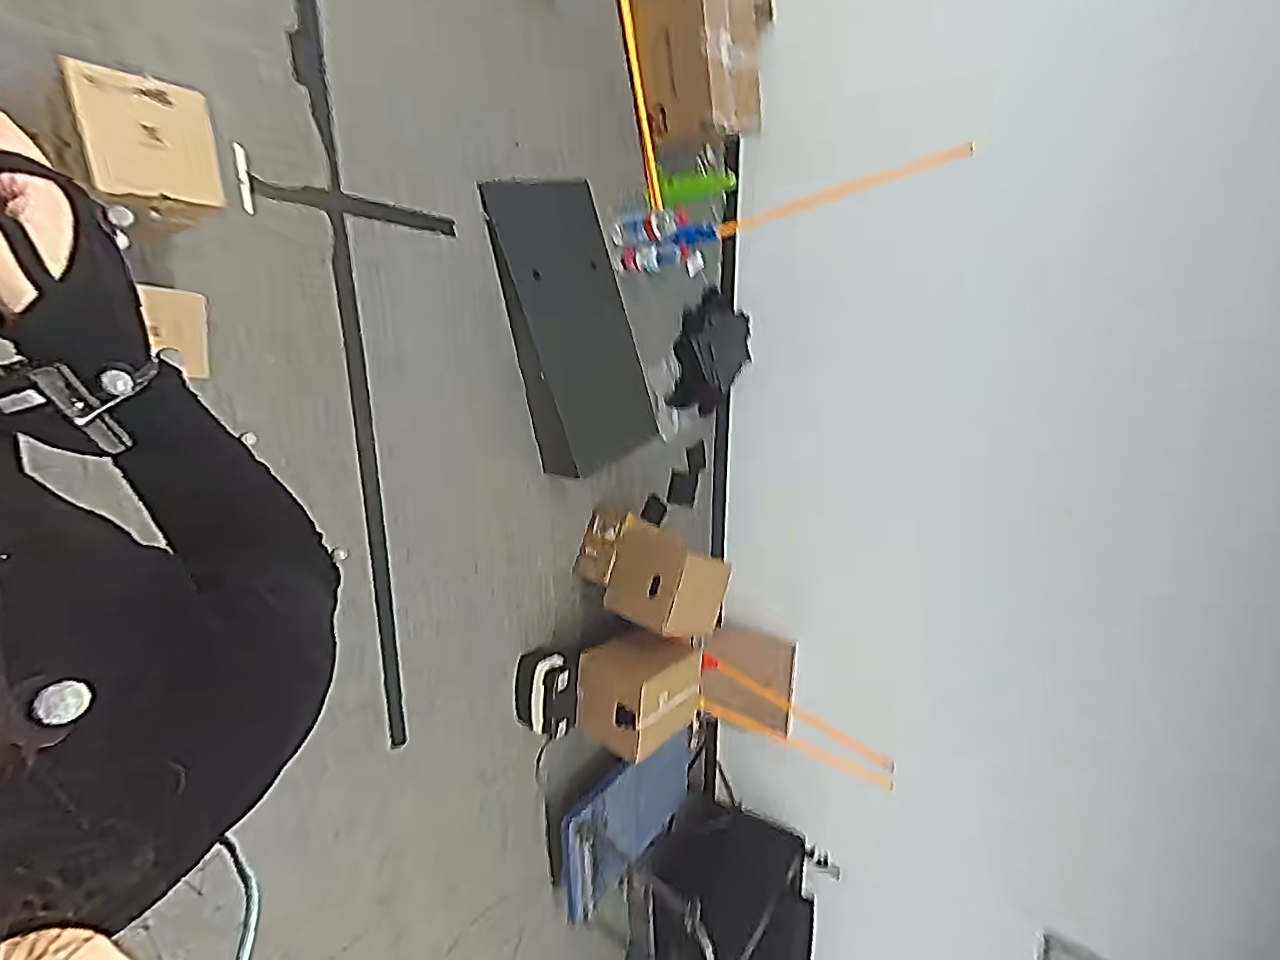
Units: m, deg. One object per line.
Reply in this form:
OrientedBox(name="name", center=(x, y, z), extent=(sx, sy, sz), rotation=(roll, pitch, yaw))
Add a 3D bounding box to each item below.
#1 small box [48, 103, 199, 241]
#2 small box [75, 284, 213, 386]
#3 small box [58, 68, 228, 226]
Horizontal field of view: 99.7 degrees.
OrientedBox(name="small box", center=(-0.954, -0.551, 0.999), extent=(0.179, 0.176, 0.168), rotation=(-12, 108, -51))
OrientedBox(name="small box", center=(-0.966, -0.274, 1.053), extent=(0.179, 0.176, 0.168), rotation=(-7, 104, -52))
OrientedBox(name="small box", center=(-0.824, -0.533, 0.900), extent=(0.168, 0.176, 0.179), rotation=(-19, 114, -49))
